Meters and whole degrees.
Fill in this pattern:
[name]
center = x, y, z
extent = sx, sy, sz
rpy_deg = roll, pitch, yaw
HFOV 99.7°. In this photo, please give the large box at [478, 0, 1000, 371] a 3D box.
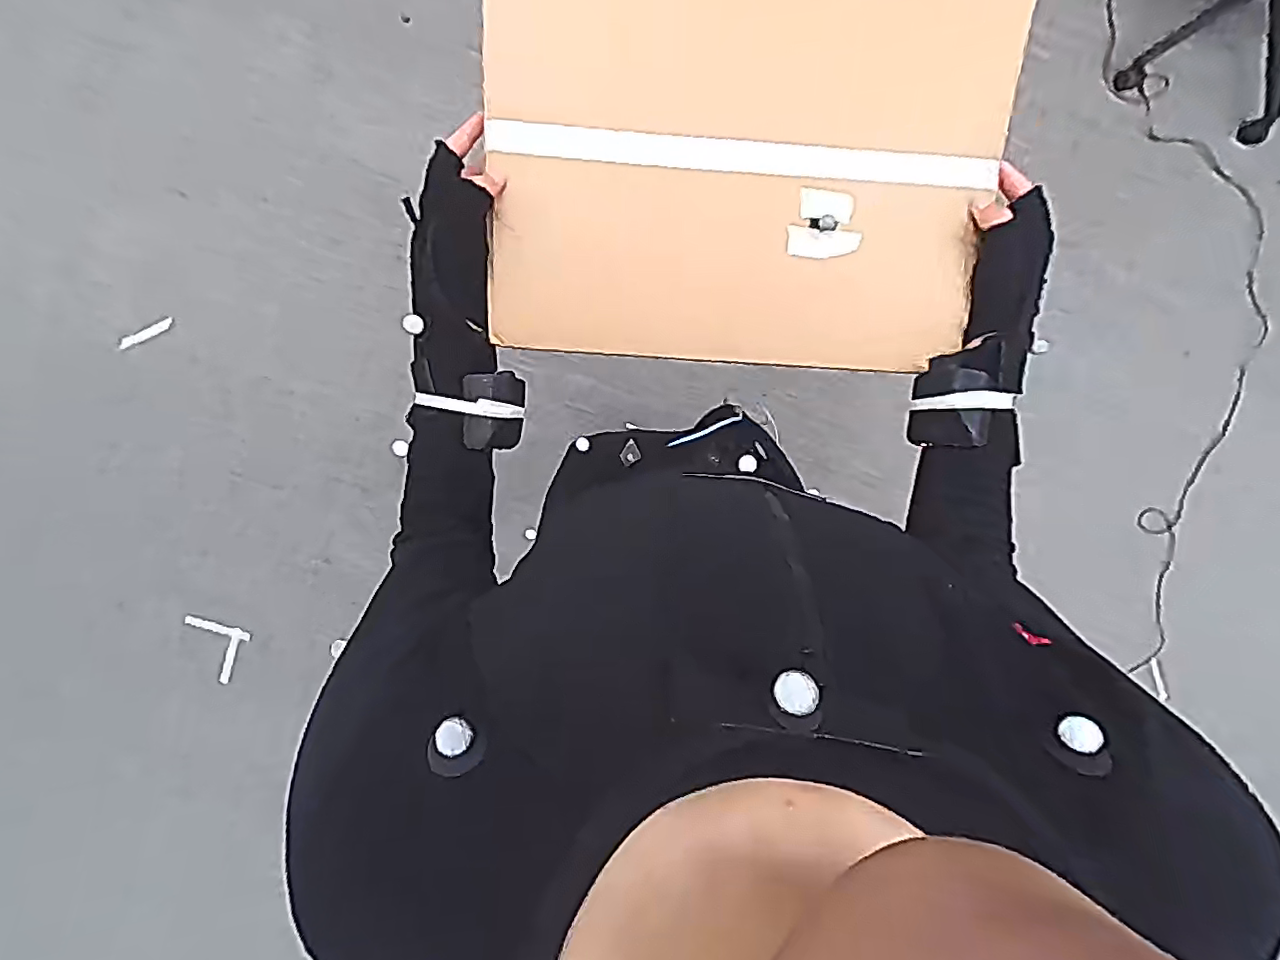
[large box]
center = 0.065, -0.291, 0.580
extent = 0.408, 0.320, 0.320
rpy_deg = 2, 107, -4
